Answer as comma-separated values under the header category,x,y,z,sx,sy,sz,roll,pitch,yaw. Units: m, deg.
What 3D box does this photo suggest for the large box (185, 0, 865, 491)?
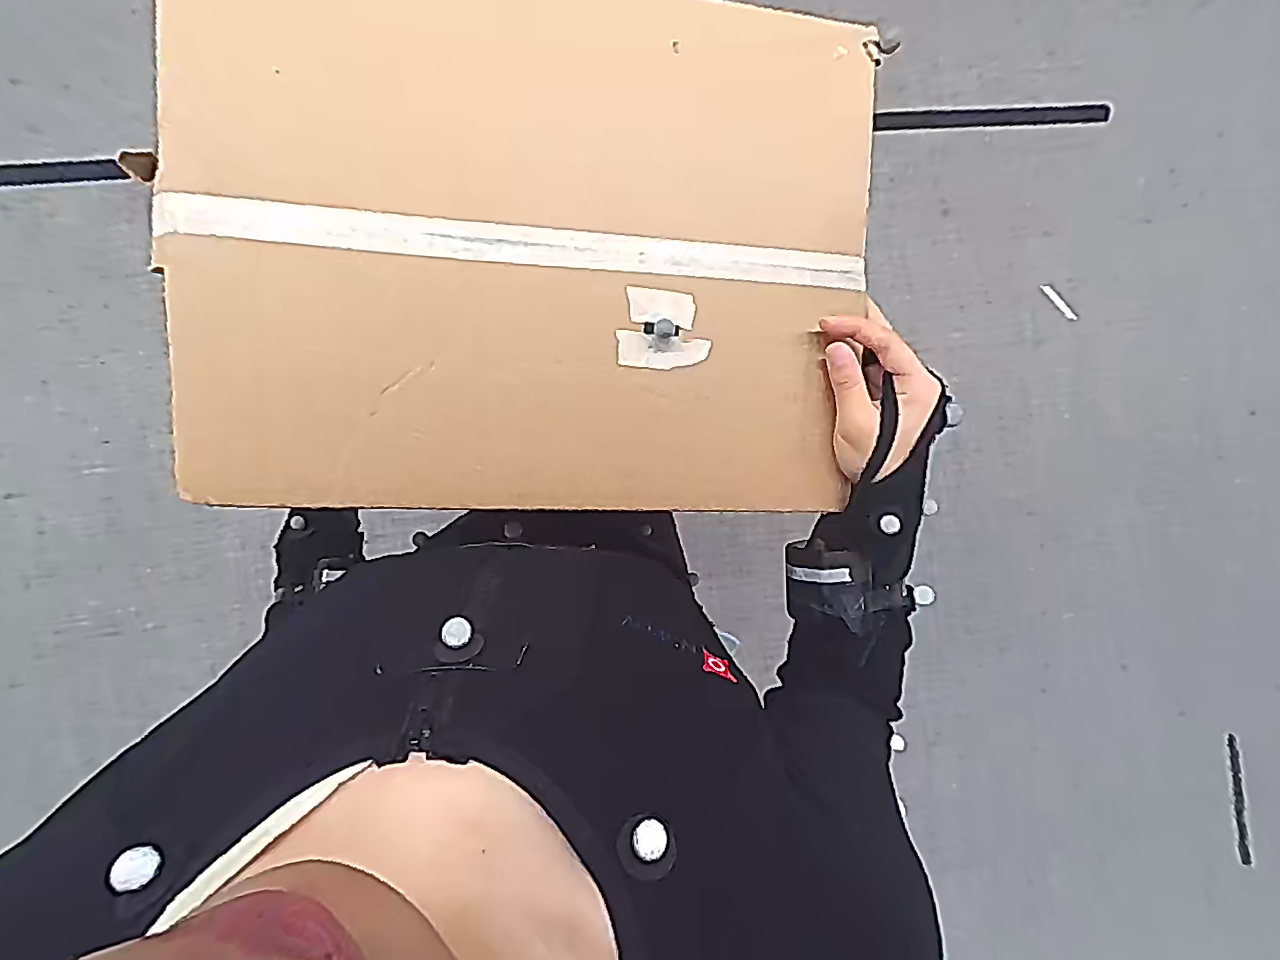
category,x,y,z,sx,sy,sz,roll,pitch,yaw
large box,-0.078,-0.160,0.475,0.408,0.320,0.320,1,95,-11
